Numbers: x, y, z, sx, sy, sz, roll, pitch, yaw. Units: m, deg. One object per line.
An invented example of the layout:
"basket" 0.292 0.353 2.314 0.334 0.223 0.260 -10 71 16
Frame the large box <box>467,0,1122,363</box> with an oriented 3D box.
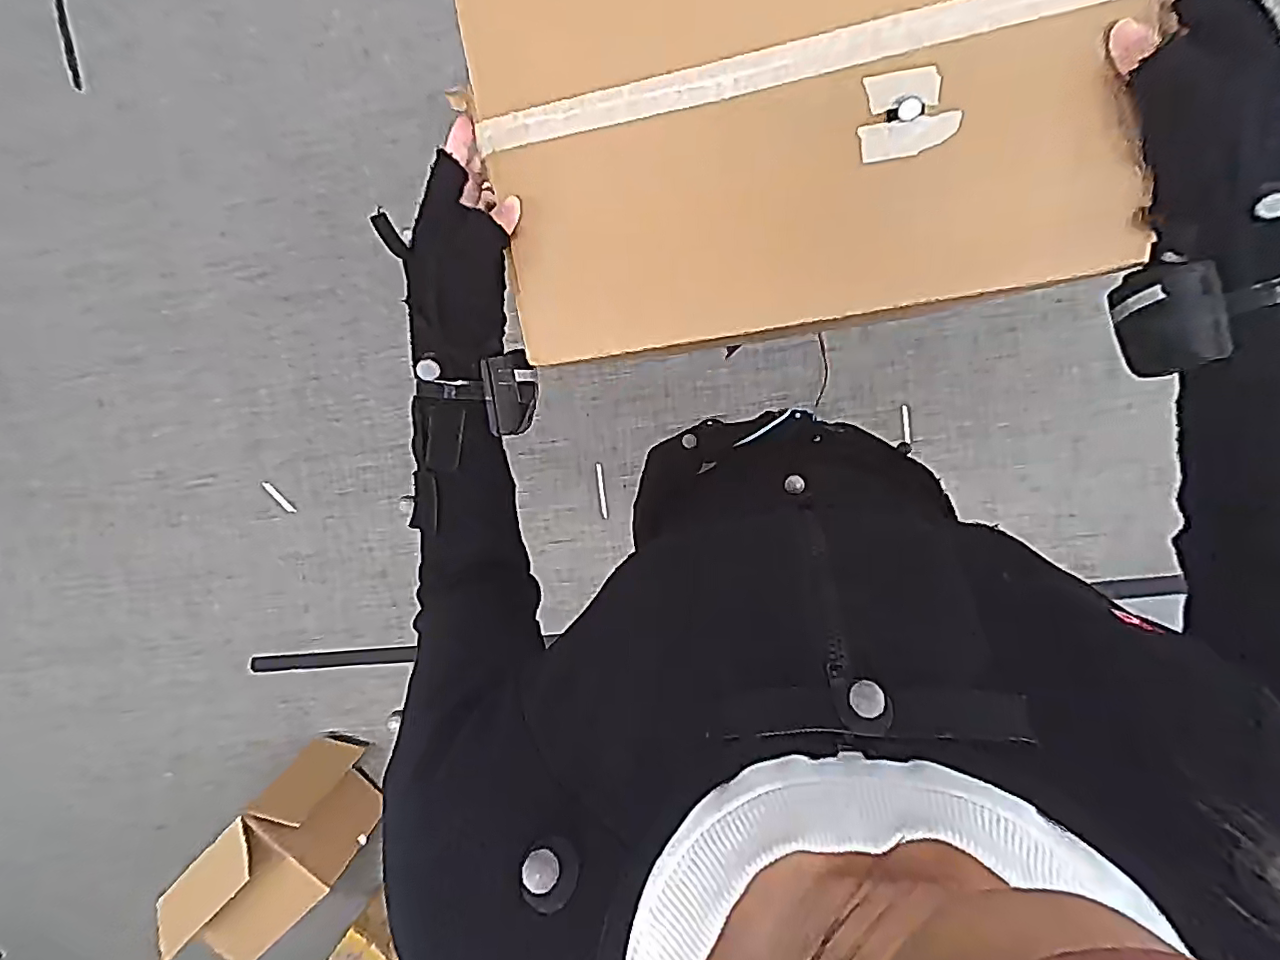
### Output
"large box" 0.108 -0.296 0.496 0.408 0.320 0.320 -8 102 8
